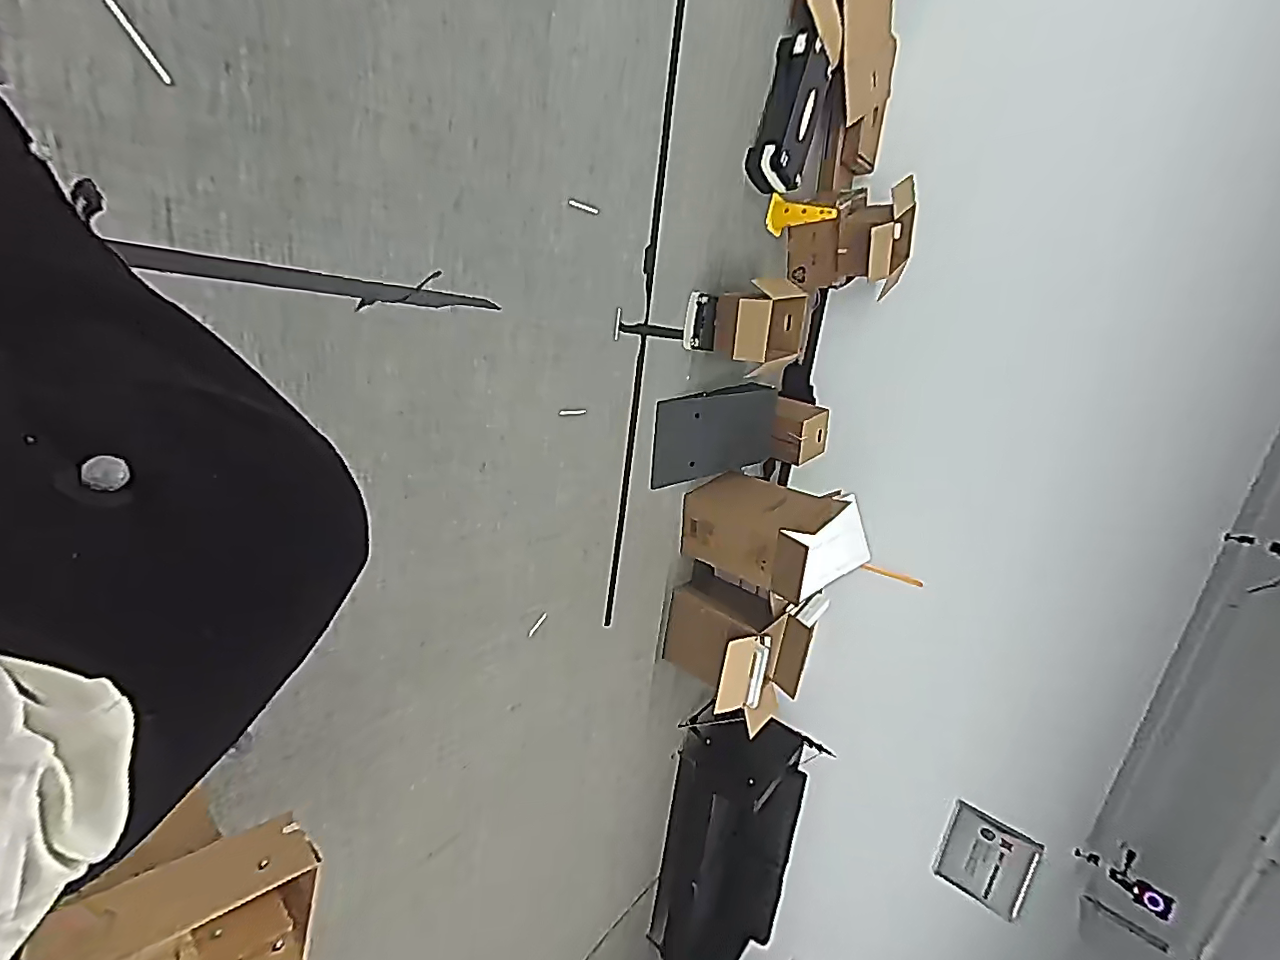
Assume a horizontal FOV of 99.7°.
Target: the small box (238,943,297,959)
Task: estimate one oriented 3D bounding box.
[{"bbox_3d":[-0.832,1.145,1.148,0.168,0.176,0.179,14,96,-54],"label":"small box"}]
